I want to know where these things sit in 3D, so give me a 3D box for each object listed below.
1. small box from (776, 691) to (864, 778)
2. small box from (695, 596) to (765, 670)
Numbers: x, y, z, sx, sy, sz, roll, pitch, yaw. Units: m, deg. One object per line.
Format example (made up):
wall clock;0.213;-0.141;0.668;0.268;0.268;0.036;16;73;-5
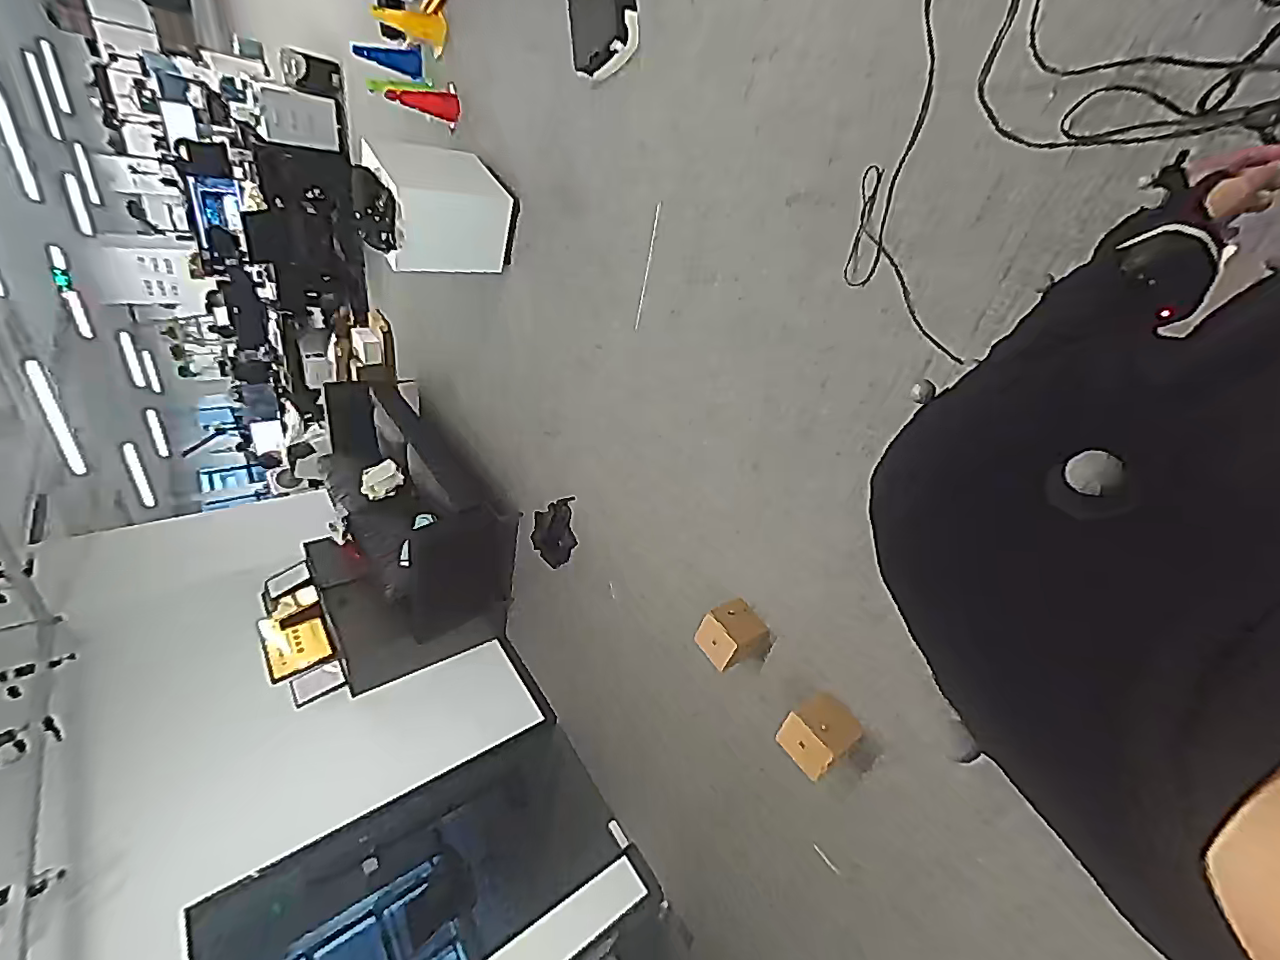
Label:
small box;0.585;0.816;1.759;0.179;0.176;0.168;43;133;36
small box;0.336;0.561;2.001;0.168;0.176;0.179;48;137;34
